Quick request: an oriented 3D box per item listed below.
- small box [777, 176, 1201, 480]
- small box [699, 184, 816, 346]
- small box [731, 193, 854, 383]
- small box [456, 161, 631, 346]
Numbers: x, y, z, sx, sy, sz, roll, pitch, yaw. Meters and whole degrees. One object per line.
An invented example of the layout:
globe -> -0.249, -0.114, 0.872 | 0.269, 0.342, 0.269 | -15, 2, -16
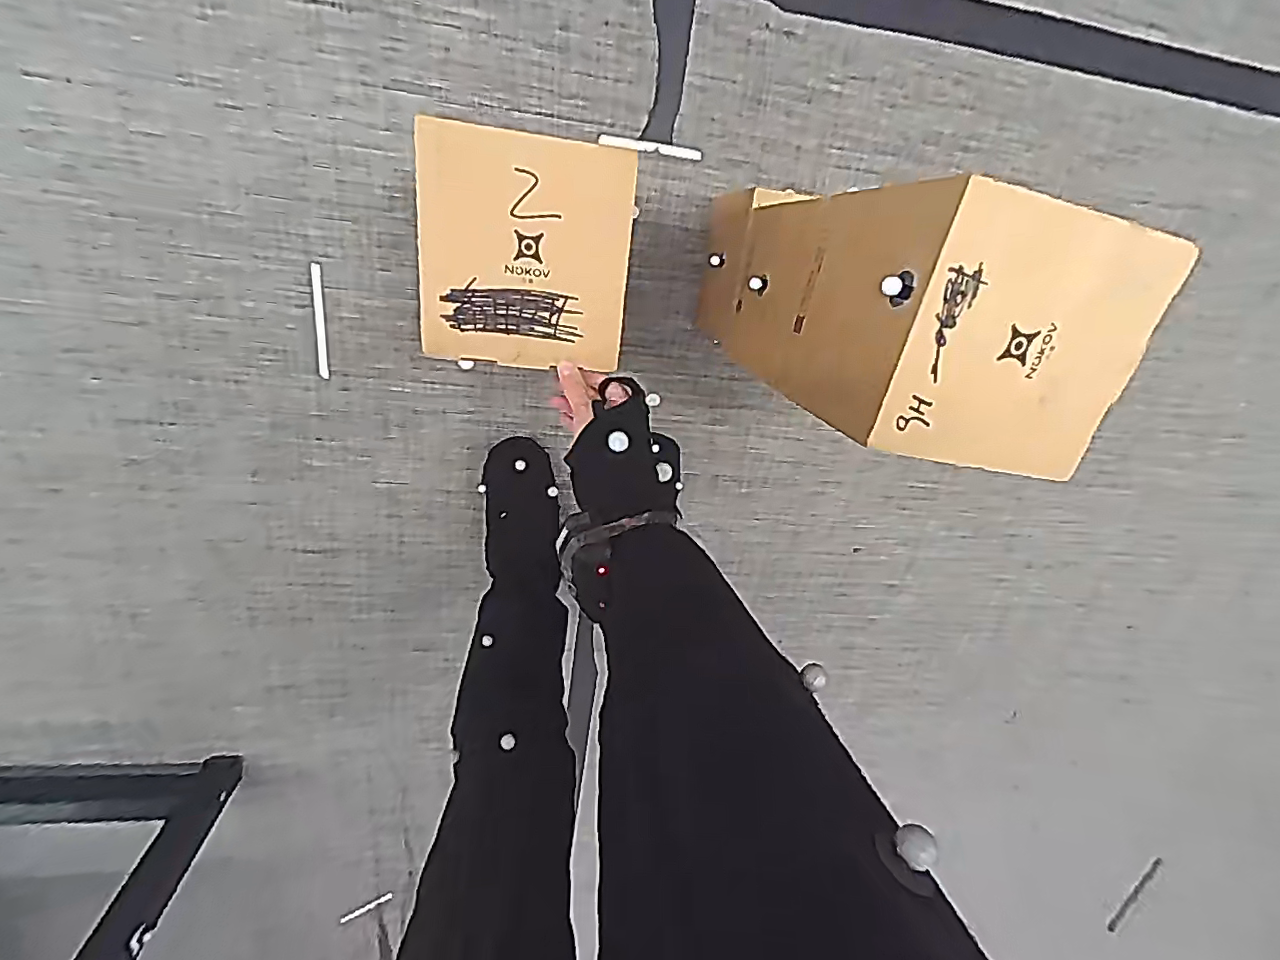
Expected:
small box -> 0.236, -0.116, 0.416 | 0.179, 0.176, 0.168 | 8, 112, -15
small box -> 0.182, -0.269, 0.703 | 0.168, 0.176, 0.179 | 3, 113, -12
small box -> 0.211, -0.186, 0.563 | 0.179, 0.176, 0.168 | 5, 114, -13
small box -> -0.118, -0.266, 0.653 | 0.179, 0.176, 0.168 | 4, 113, -12
